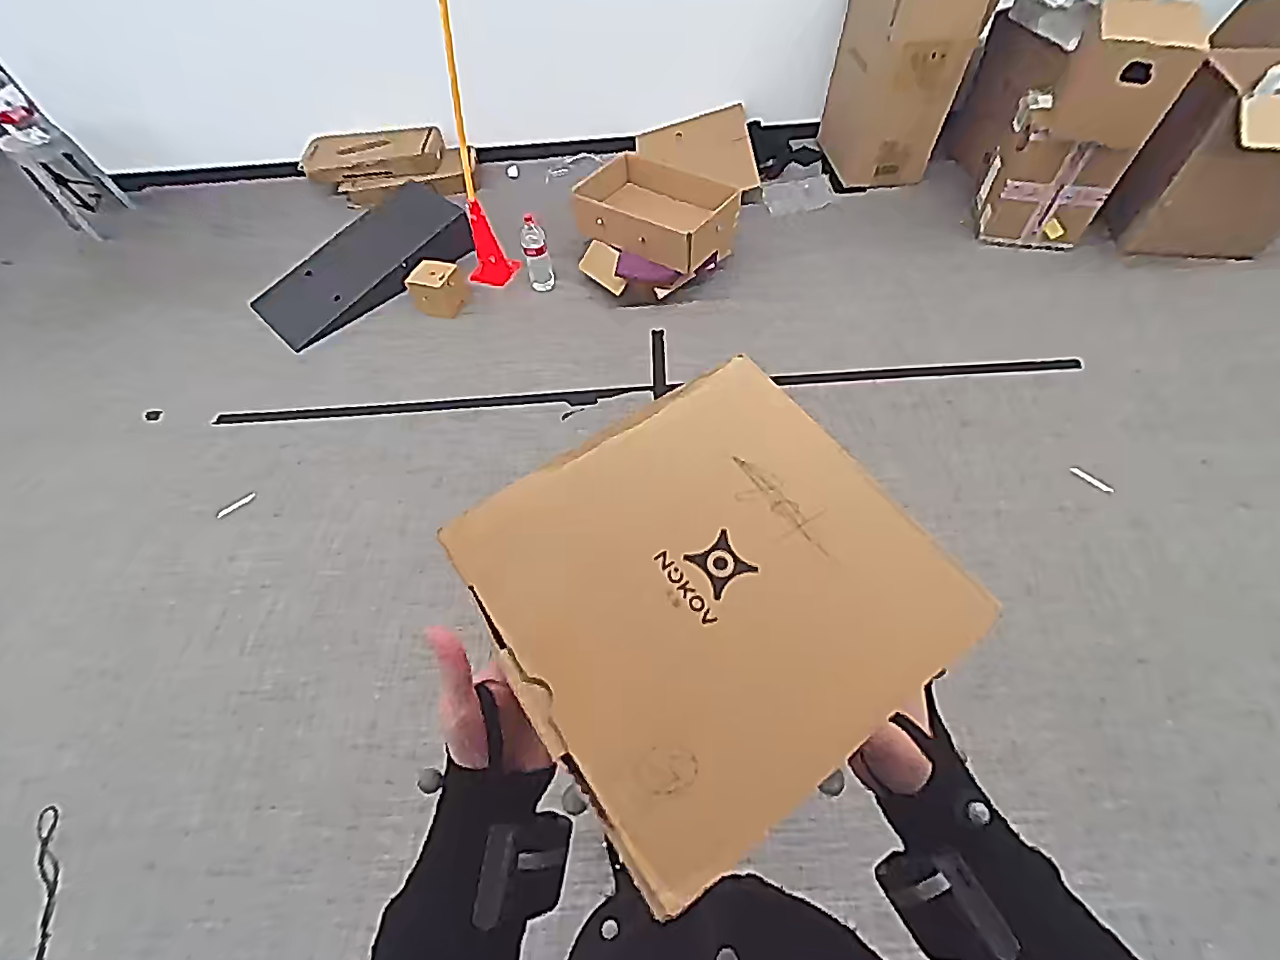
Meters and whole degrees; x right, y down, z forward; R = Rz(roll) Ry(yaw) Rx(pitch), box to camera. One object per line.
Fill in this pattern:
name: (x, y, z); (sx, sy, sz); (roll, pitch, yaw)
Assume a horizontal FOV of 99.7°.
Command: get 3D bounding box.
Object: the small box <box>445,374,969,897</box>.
small box: (0.025, 0.081, 0.306); (0.179, 0.176, 0.168); (-32, 68, -18)
